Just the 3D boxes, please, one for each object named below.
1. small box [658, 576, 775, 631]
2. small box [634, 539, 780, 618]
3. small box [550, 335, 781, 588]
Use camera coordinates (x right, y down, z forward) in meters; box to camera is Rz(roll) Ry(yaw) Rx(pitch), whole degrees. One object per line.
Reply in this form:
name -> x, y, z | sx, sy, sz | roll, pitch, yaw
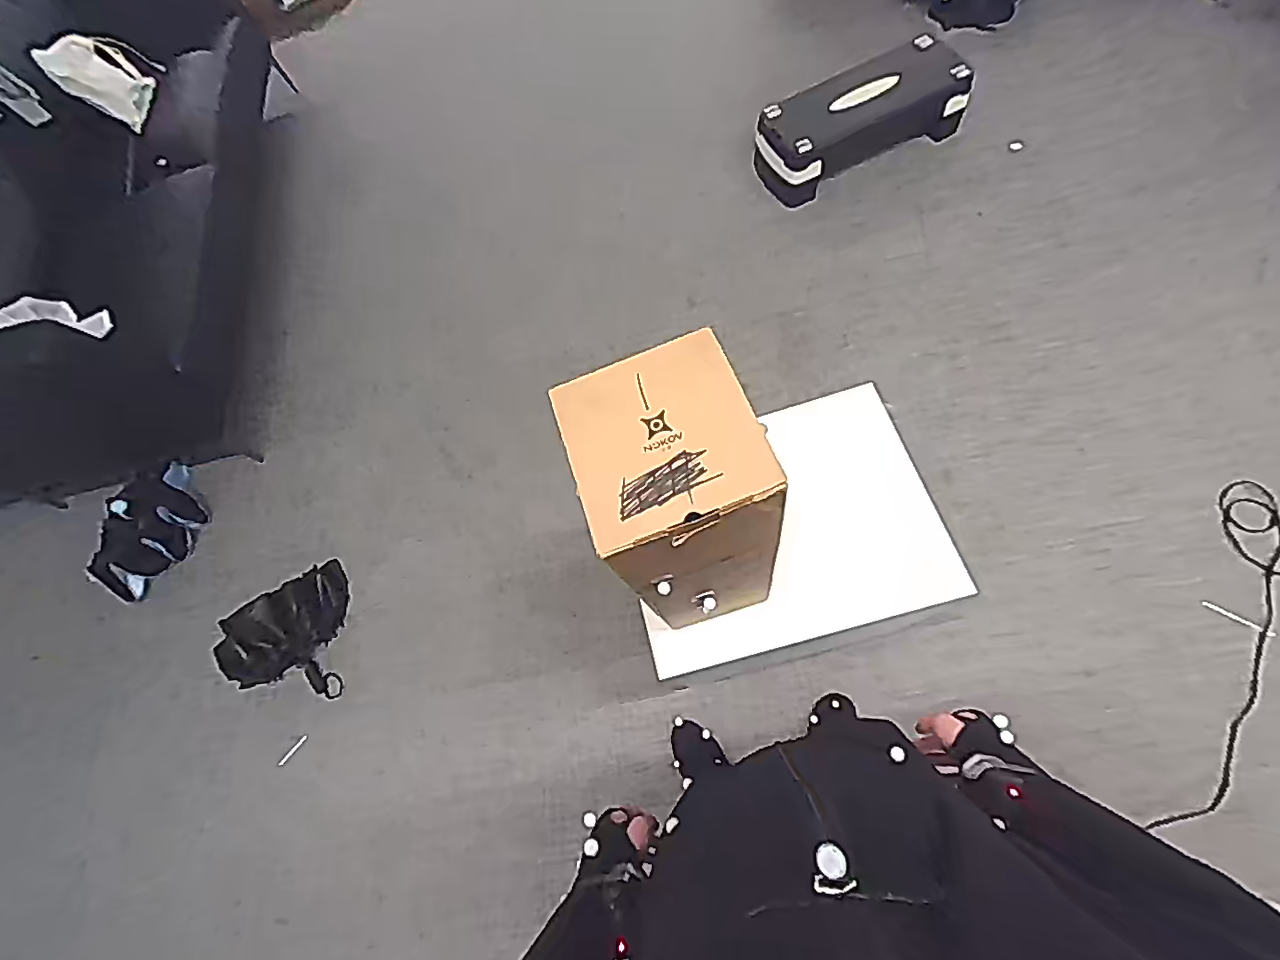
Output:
small box -> 0.098, 0.120, 0.840 | 0.168, 0.176, 0.179 | -19, 66, 4
small box -> 0.065, 0.059, 0.691 | 0.168, 0.176, 0.179 | -20, 66, 3
small box -> 0.032, -0.003, 0.542 | 0.168, 0.176, 0.179 | -21, 63, 3
